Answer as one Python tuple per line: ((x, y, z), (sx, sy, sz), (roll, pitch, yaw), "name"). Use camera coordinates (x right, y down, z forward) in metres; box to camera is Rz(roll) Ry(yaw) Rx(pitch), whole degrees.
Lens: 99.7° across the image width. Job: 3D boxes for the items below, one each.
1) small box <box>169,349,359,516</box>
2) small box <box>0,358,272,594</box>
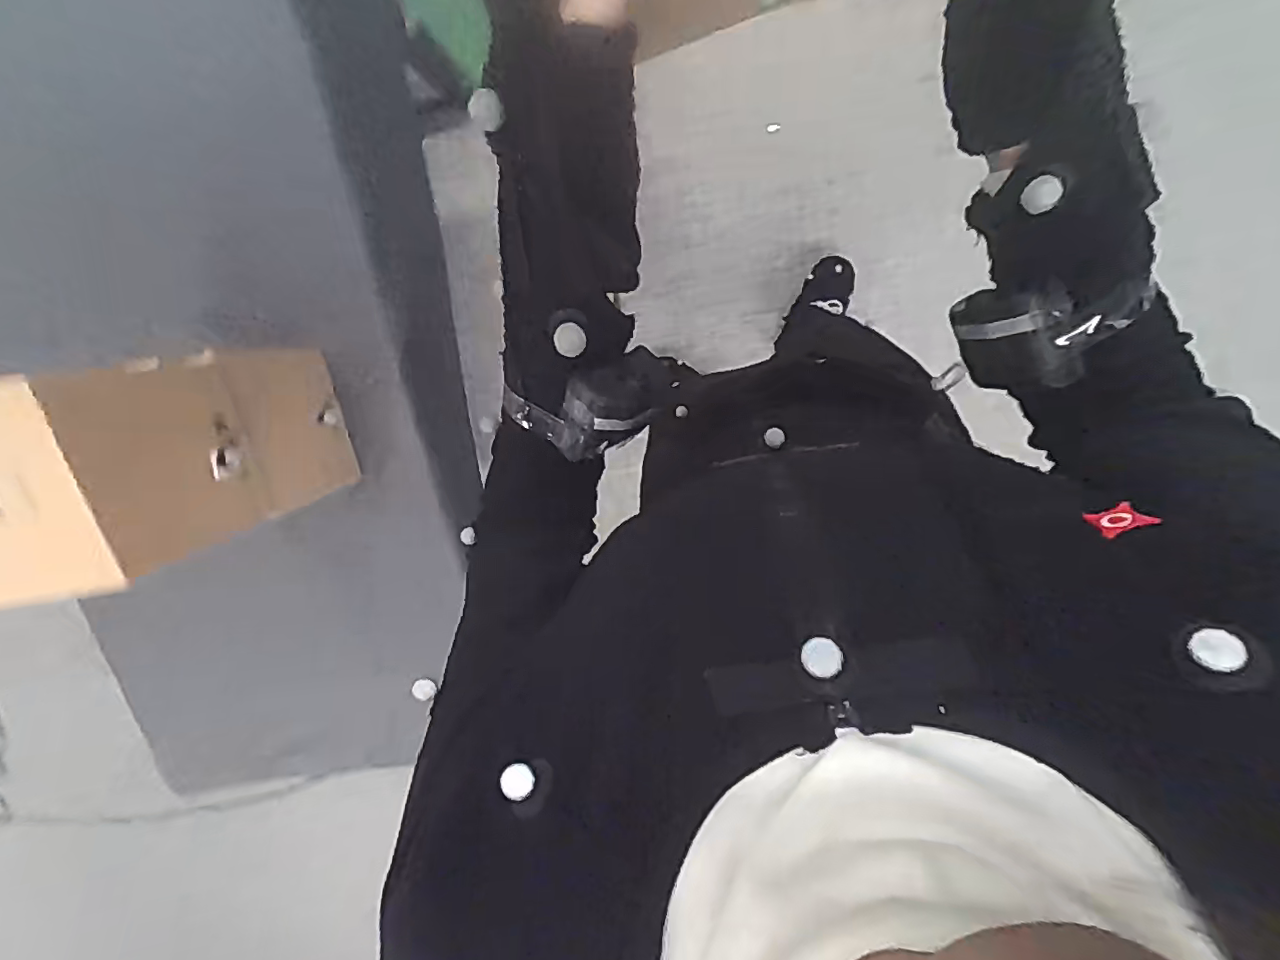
((-0.481, -0.057, 0.652), (0.168, 0.176, 0.179), (-9, 104, 9), "small box")
((-0.497, -0.011, 0.496), (0.179, 0.176, 0.168), (-10, 106, 8), "small box")
